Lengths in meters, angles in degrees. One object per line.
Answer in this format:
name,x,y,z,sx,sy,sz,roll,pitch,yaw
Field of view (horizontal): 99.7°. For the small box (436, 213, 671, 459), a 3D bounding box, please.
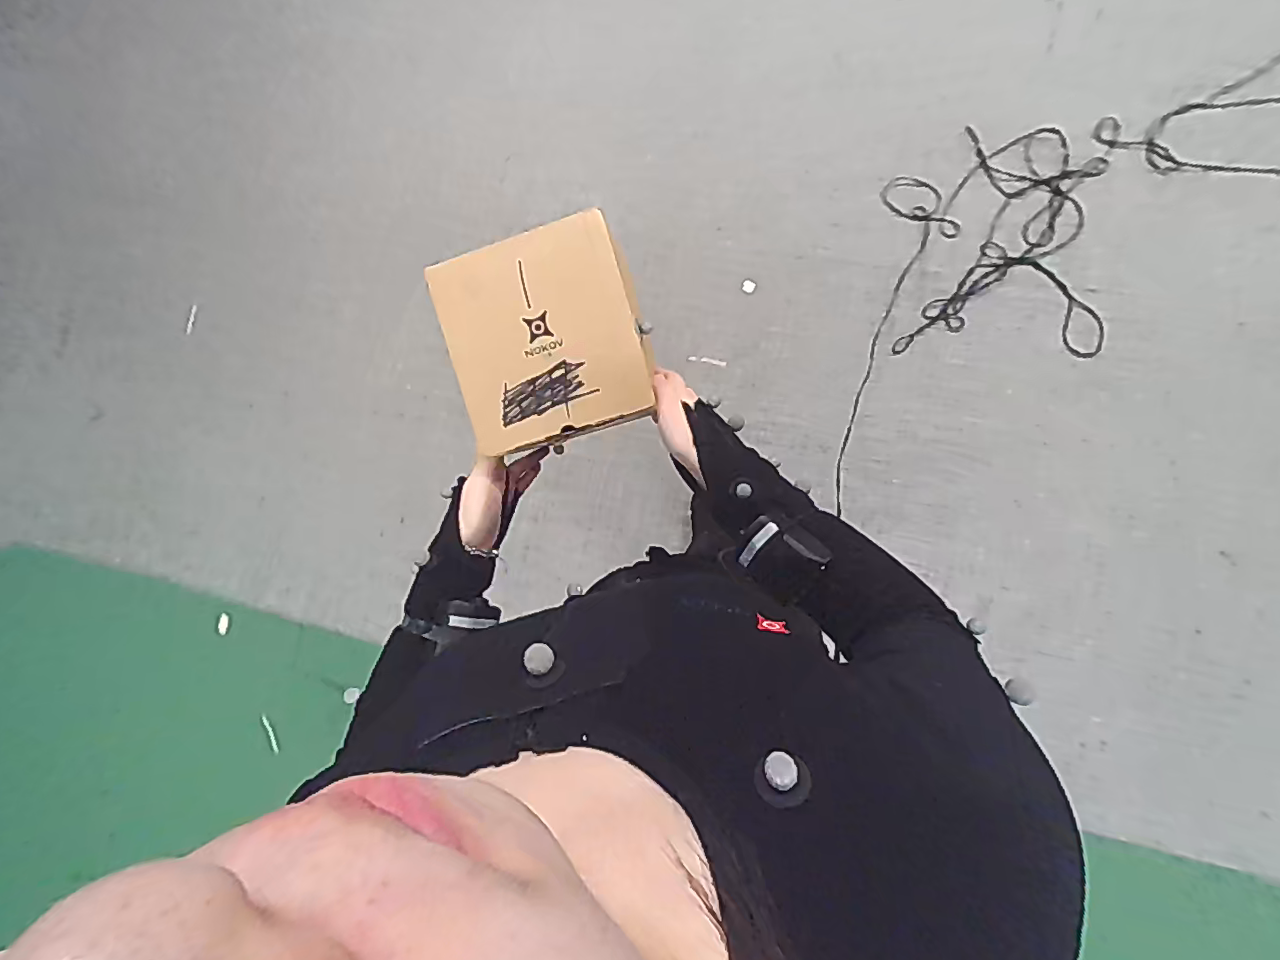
small box,-0.069,-0.131,0.546,0.168,0.176,0.179,-15,95,8
